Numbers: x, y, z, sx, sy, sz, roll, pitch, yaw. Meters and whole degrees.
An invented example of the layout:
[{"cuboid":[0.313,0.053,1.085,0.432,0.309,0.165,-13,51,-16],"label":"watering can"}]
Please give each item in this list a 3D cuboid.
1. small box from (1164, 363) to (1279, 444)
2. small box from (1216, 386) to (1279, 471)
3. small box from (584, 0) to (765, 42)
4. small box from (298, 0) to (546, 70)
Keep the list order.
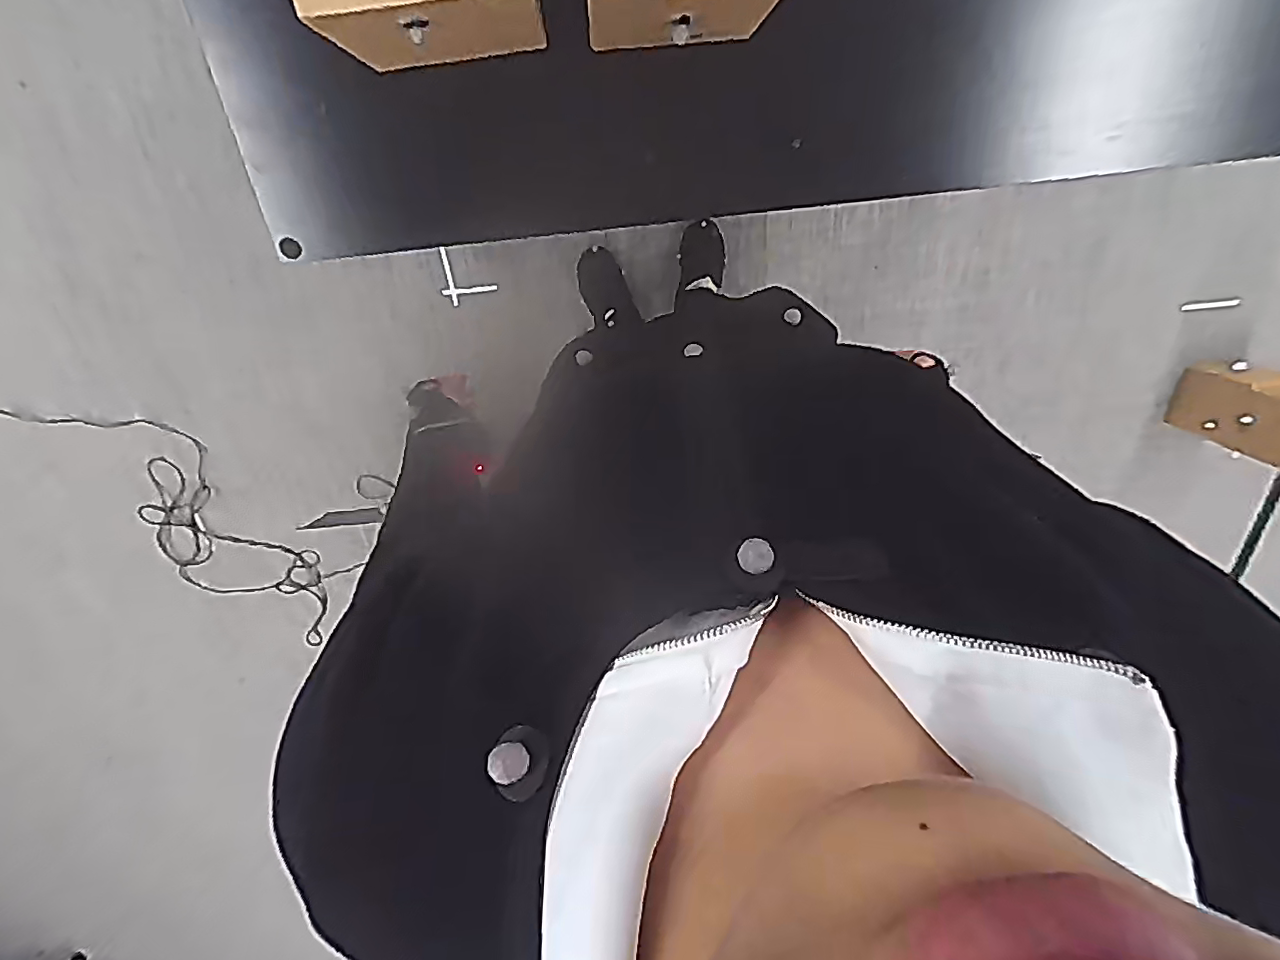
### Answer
[{"cuboid":[1.630,-0.216,1.505,0.168,0.176,0.179,-5,117,-2],"label":"small box"},{"cuboid":[1.644,-0.137,1.363,0.179,0.176,0.168,-5,116,0],"label":"small box"},{"cuboid":[0.028,-0.493,0.451,0.168,0.176,0.179,-6,117,-2],"label":"small box"},{"cuboid":[-0.185,-0.468,0.449,0.179,0.176,0.168,-9,116,-1],"label":"small box"}]
